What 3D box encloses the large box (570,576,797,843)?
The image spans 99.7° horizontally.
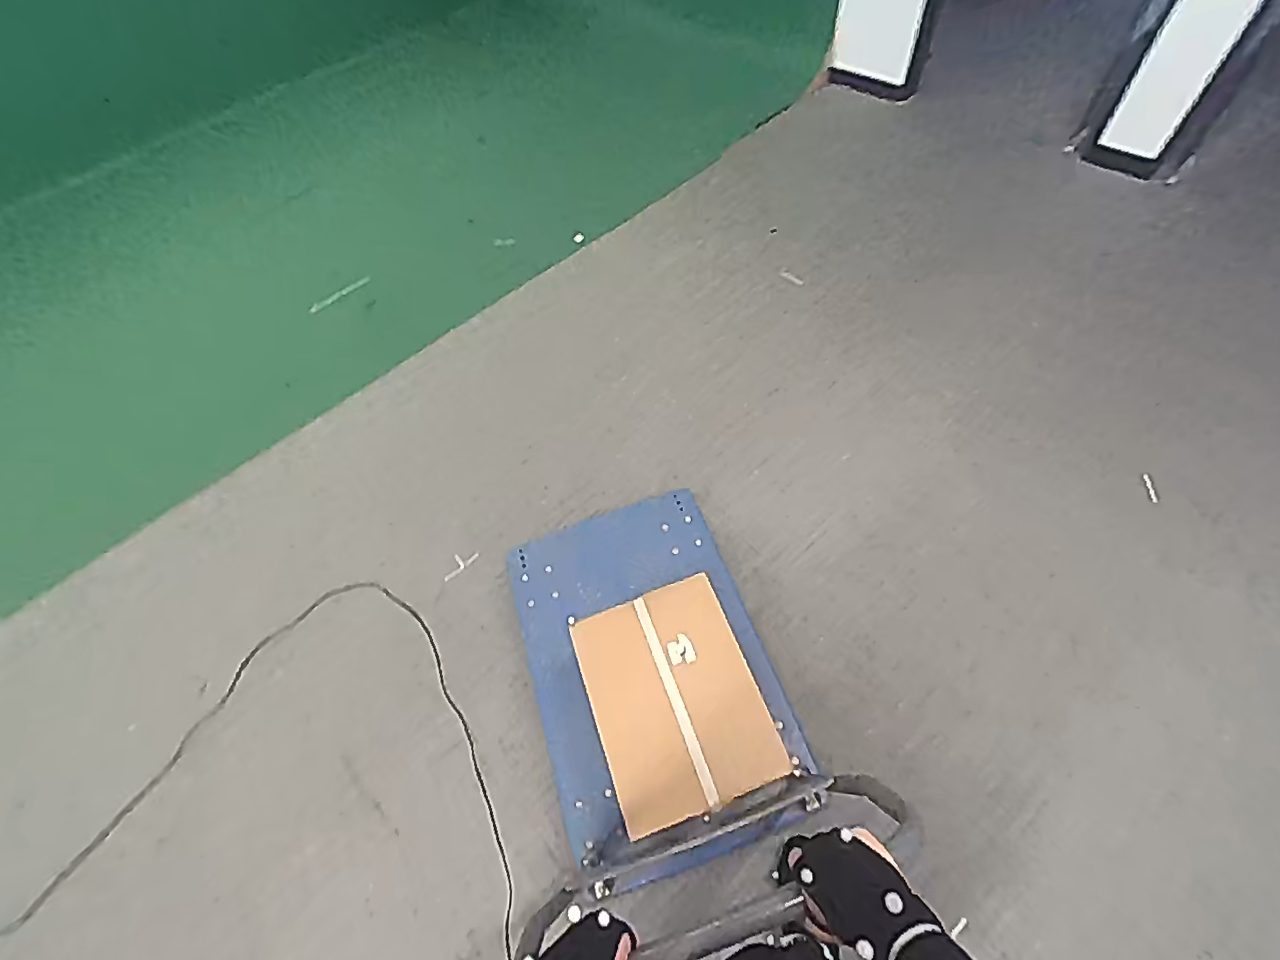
[{"bbox_3d":[0.084,0.486,1.153,0.320,0.320,0.408,-20,58,-6],"label":"large box"}]
